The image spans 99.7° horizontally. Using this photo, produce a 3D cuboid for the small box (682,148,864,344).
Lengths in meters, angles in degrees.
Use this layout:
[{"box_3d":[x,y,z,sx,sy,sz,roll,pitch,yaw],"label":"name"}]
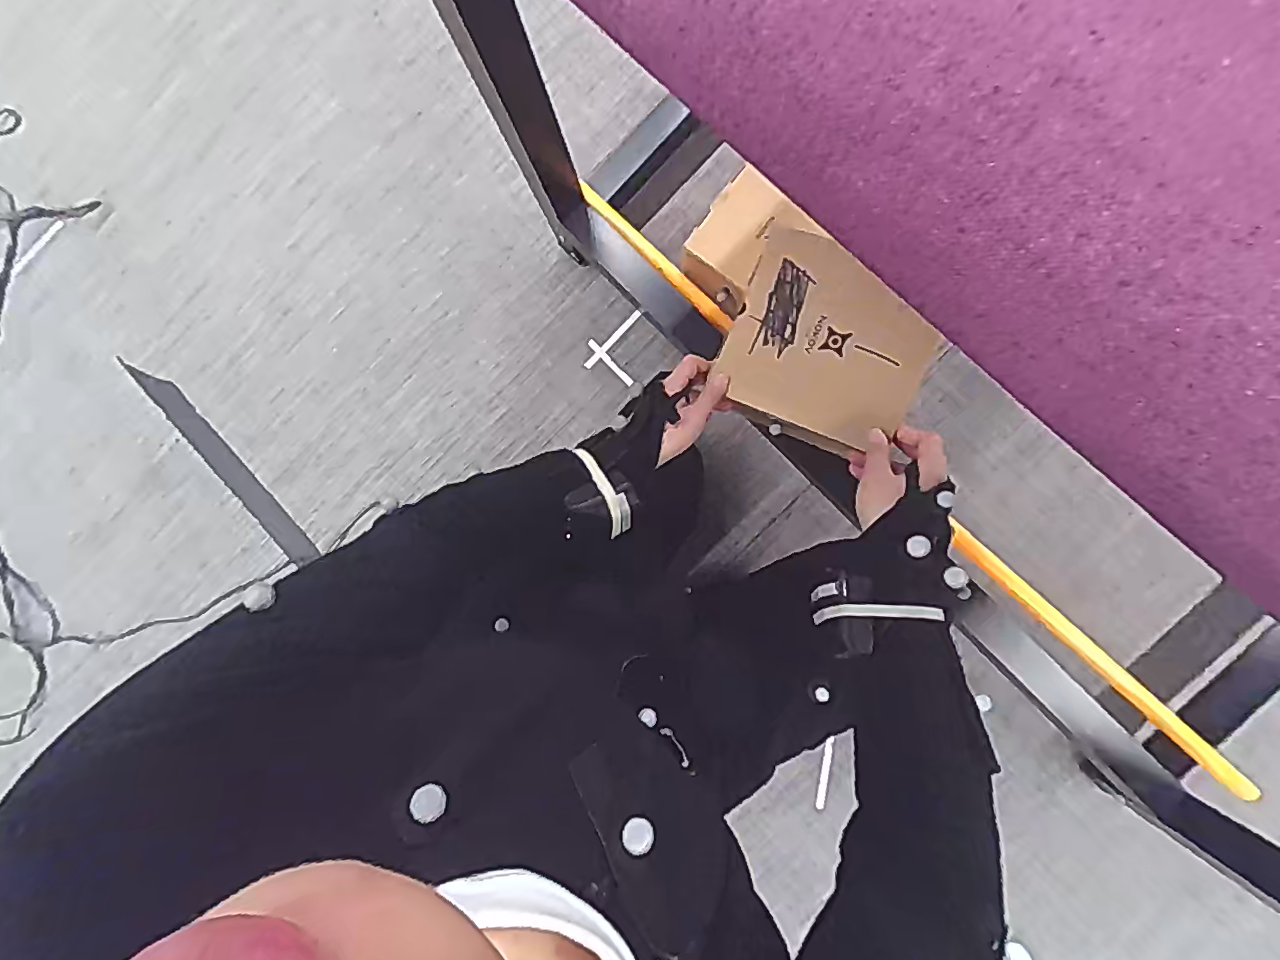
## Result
[{"box_3d":[0.179,-0.318,0.780,0.179,0.176,0.168,38,92,5],"label":"small box"}]
